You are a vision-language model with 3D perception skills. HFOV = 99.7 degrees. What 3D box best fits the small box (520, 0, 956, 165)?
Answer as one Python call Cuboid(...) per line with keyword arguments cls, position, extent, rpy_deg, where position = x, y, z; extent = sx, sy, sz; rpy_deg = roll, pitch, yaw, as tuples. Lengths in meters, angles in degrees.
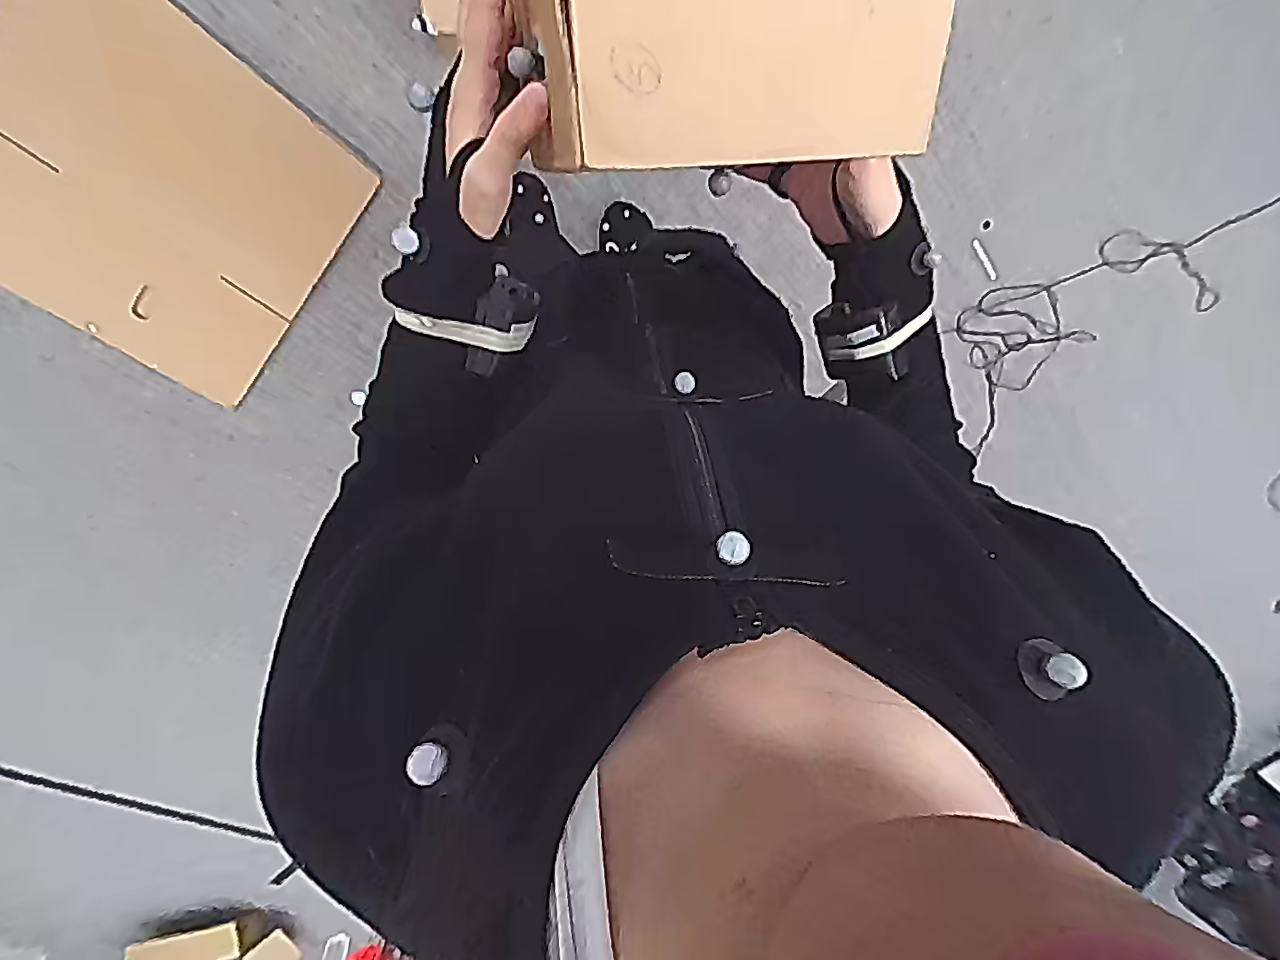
Cuboid(cls="small box", position=(0.031, -0.256, 0.270), extent=(0.179, 0.176, 0.168), rpy_deg=(-11, 123, -13))
